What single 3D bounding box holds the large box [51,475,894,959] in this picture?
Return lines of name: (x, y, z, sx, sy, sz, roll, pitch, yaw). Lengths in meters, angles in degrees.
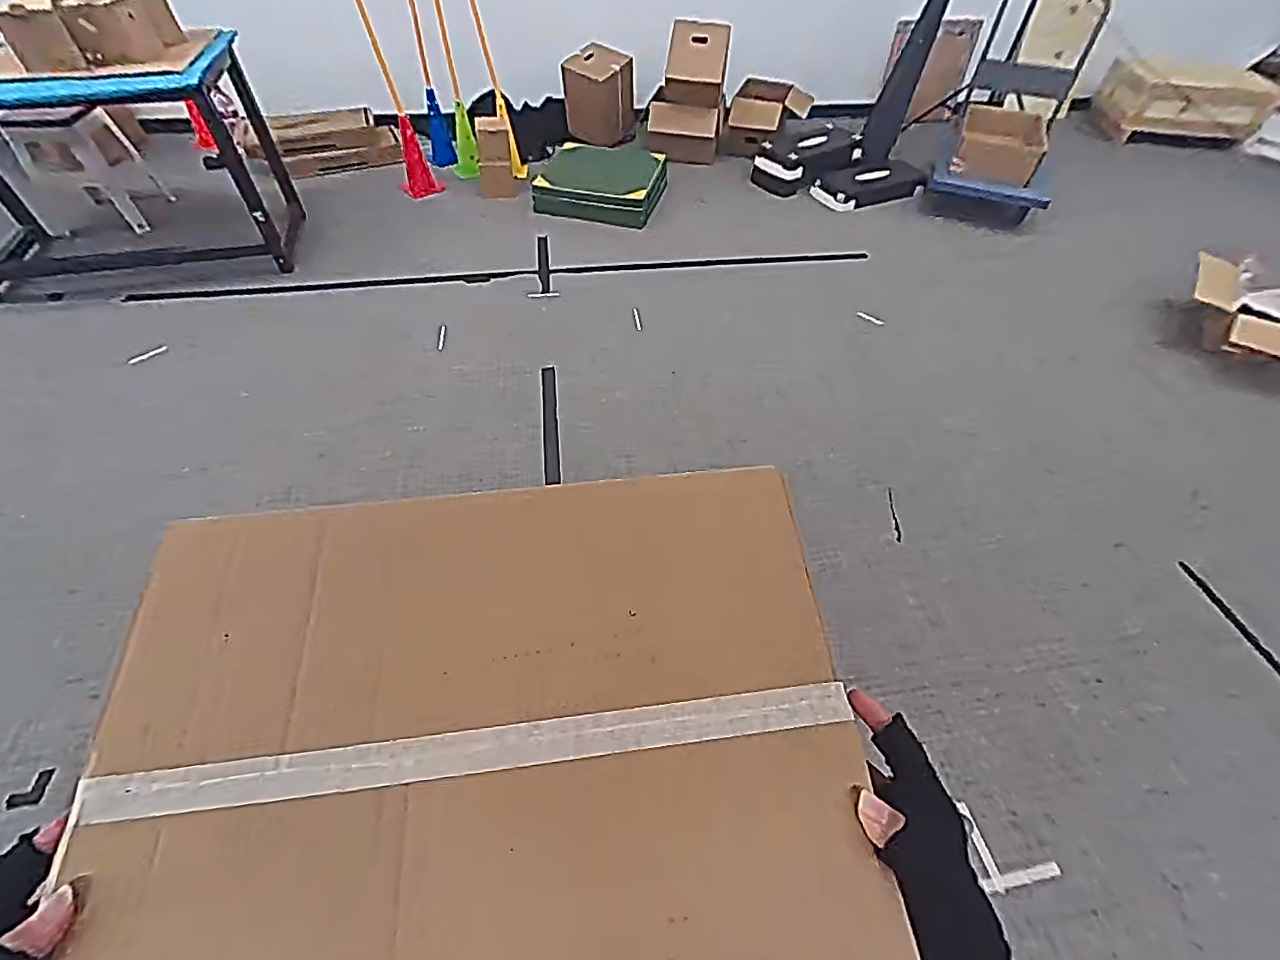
large box: (-0.089, 0.219, 0.433, 0.408, 0.320, 0.320, -5, 61, -4)
